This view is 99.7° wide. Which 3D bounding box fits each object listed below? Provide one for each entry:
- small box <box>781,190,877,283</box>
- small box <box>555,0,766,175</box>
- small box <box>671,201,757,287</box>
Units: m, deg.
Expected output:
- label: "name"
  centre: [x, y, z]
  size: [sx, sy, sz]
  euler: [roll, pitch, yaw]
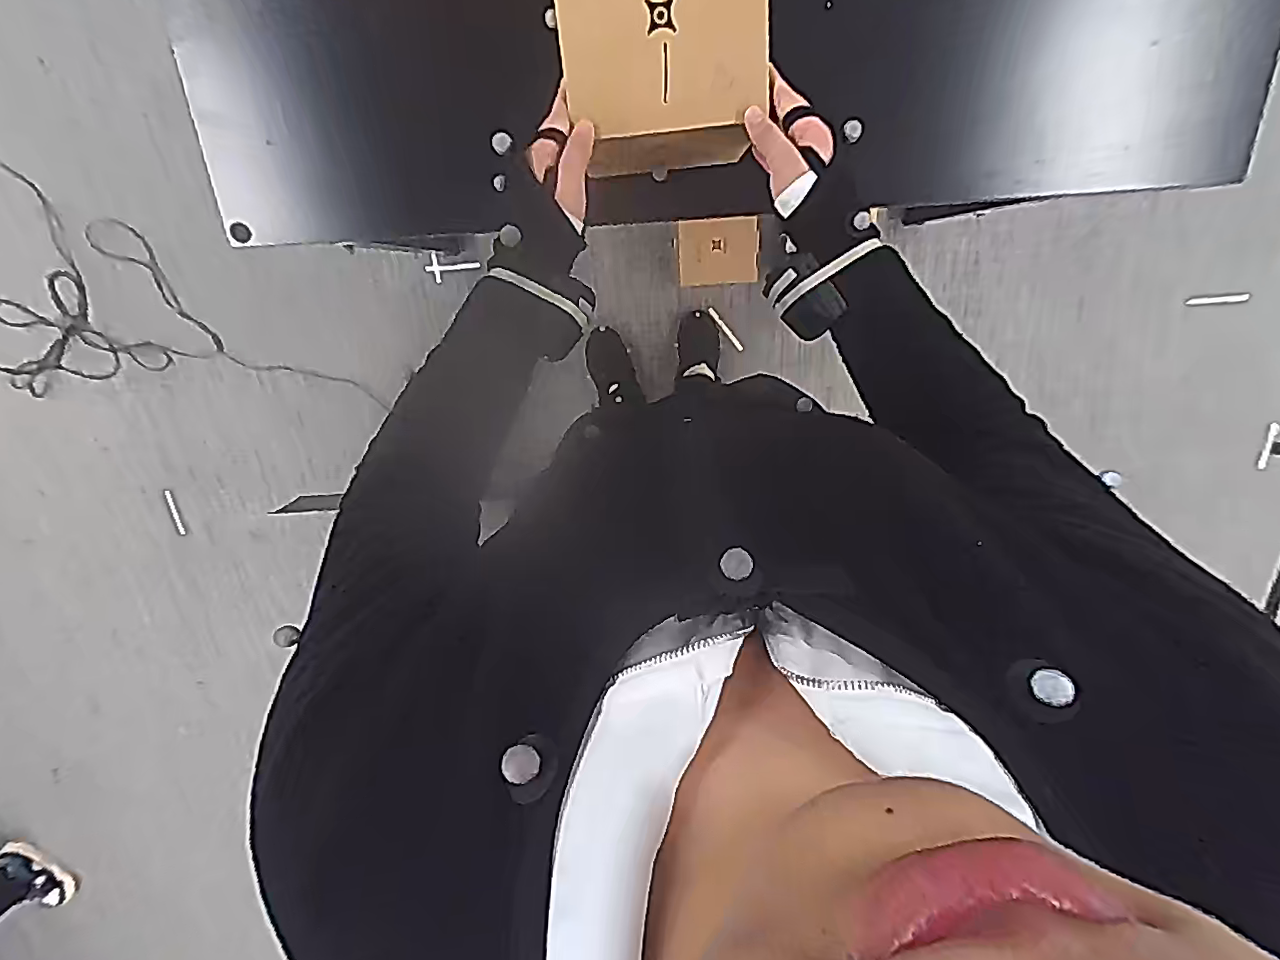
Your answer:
- label: "small box"
  centre: [0.430, -0.556, 1.254]
  size: [0.168, 0.176, 0.179]
  euler: [-4, 110, 1]
- label: "small box"
  centre: [0.014, -0.397, 0.491]
  size: [0.168, 0.176, 0.179]
  euler: [-5, 110, 1]
- label: "small box"
  centre: [0.167, -0.543, 1.256]
  size: [0.179, 0.176, 0.168]
  euler: [-4, 110, 1]
